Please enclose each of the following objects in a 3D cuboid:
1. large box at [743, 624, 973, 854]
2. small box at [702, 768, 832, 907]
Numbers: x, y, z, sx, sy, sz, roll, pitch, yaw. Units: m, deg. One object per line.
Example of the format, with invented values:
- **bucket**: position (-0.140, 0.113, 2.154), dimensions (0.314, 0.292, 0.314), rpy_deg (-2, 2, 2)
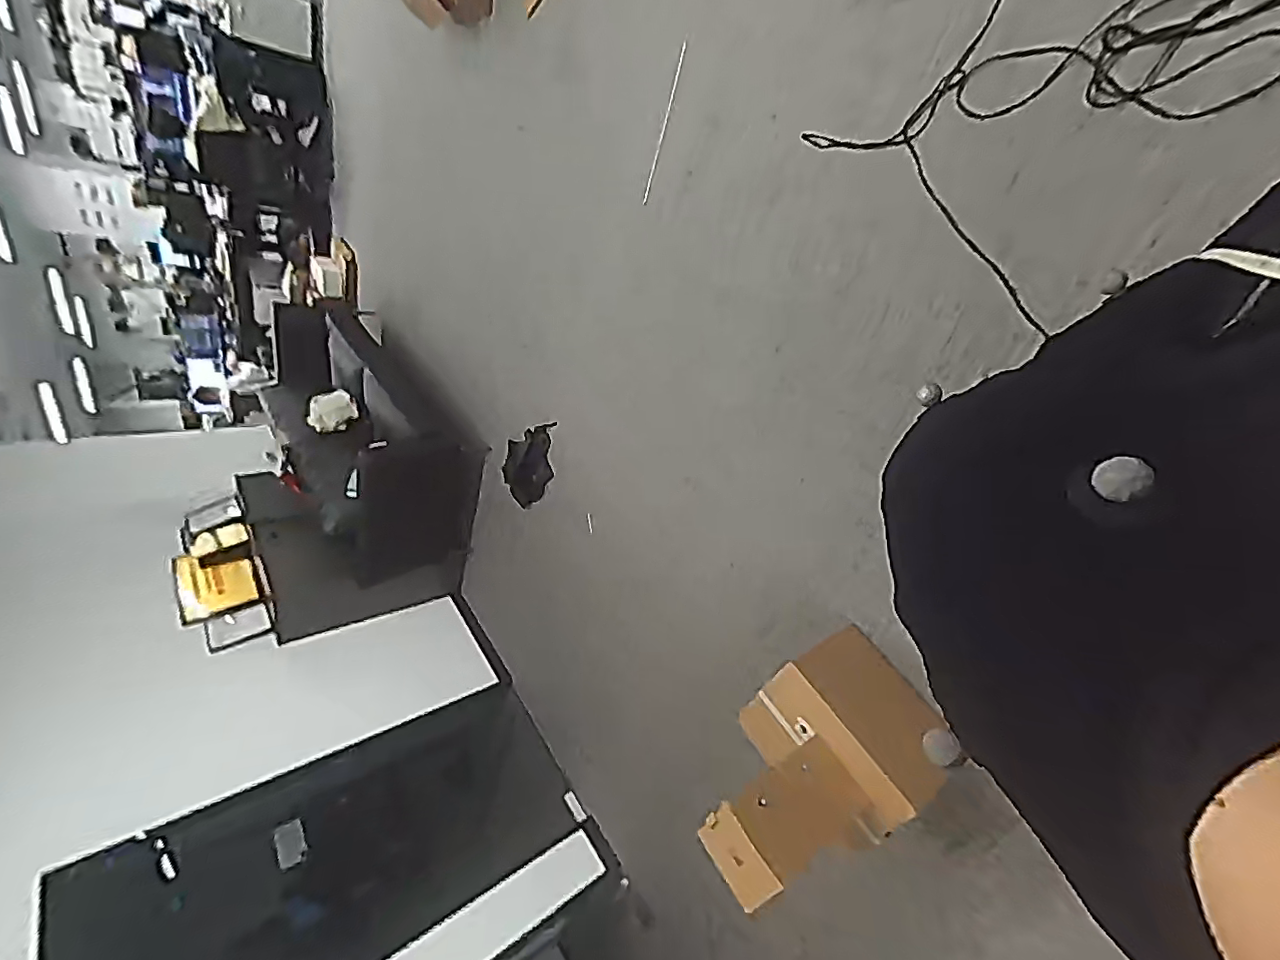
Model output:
- **large box**: position (0.565, 0.667, 1.442), dimensions (0.408, 0.320, 0.320), rpy_deg (52, 132, 32)
- **small box**: position (0.273, 0.760, 1.171), dimensions (0.179, 0.176, 0.168), rpy_deg (48, 133, 33)
